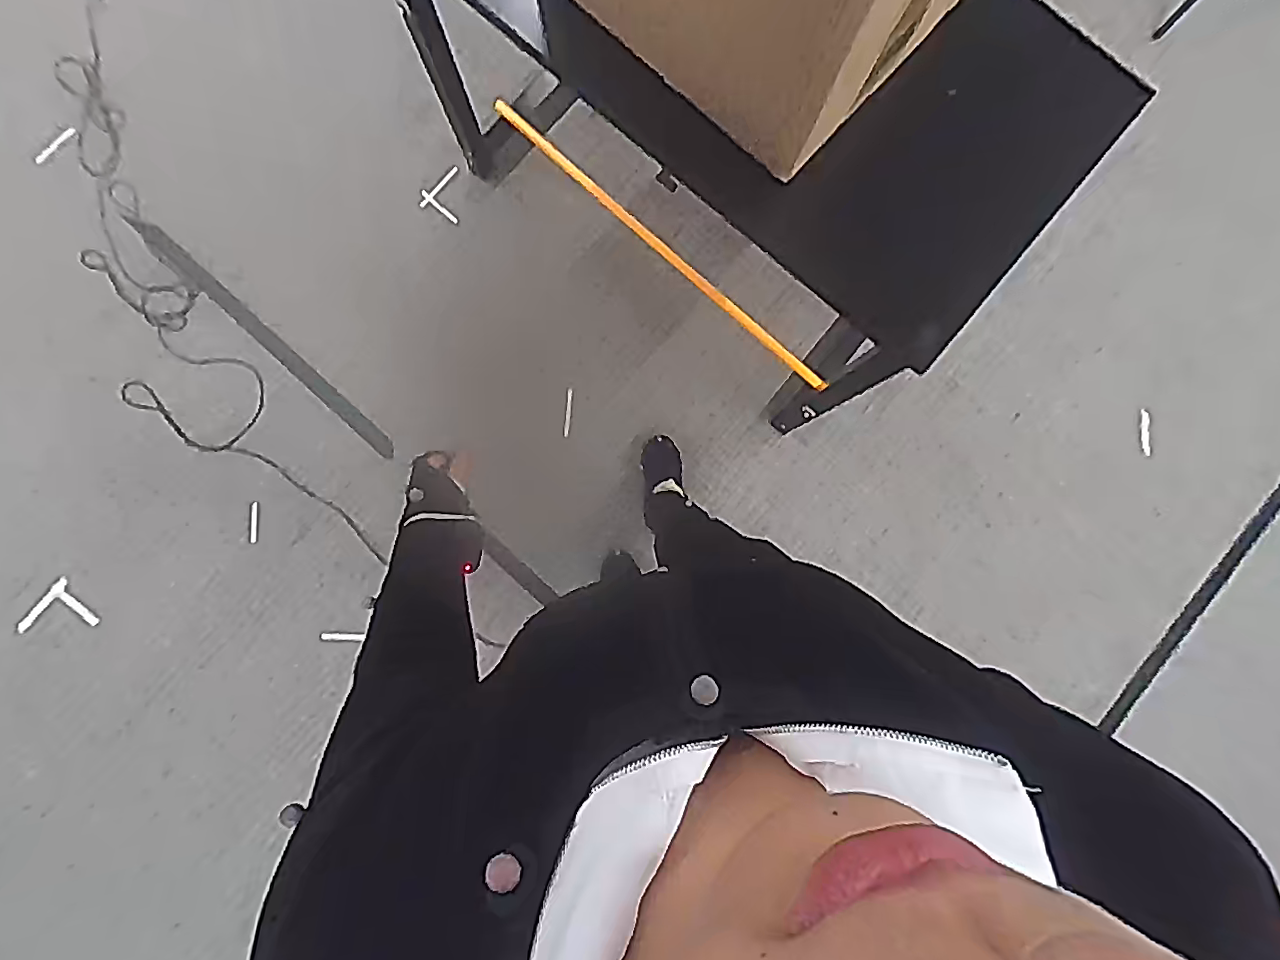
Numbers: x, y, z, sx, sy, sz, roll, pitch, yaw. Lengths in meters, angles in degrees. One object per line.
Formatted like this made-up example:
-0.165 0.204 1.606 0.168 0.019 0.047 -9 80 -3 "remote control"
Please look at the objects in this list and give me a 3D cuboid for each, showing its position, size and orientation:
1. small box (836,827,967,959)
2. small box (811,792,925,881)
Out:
0.576 0.938 1.217 0.168 0.176 0.179 36 86 1 "small box"
0.573 0.944 1.382 0.179 0.176 0.168 34 85 2 "small box"
